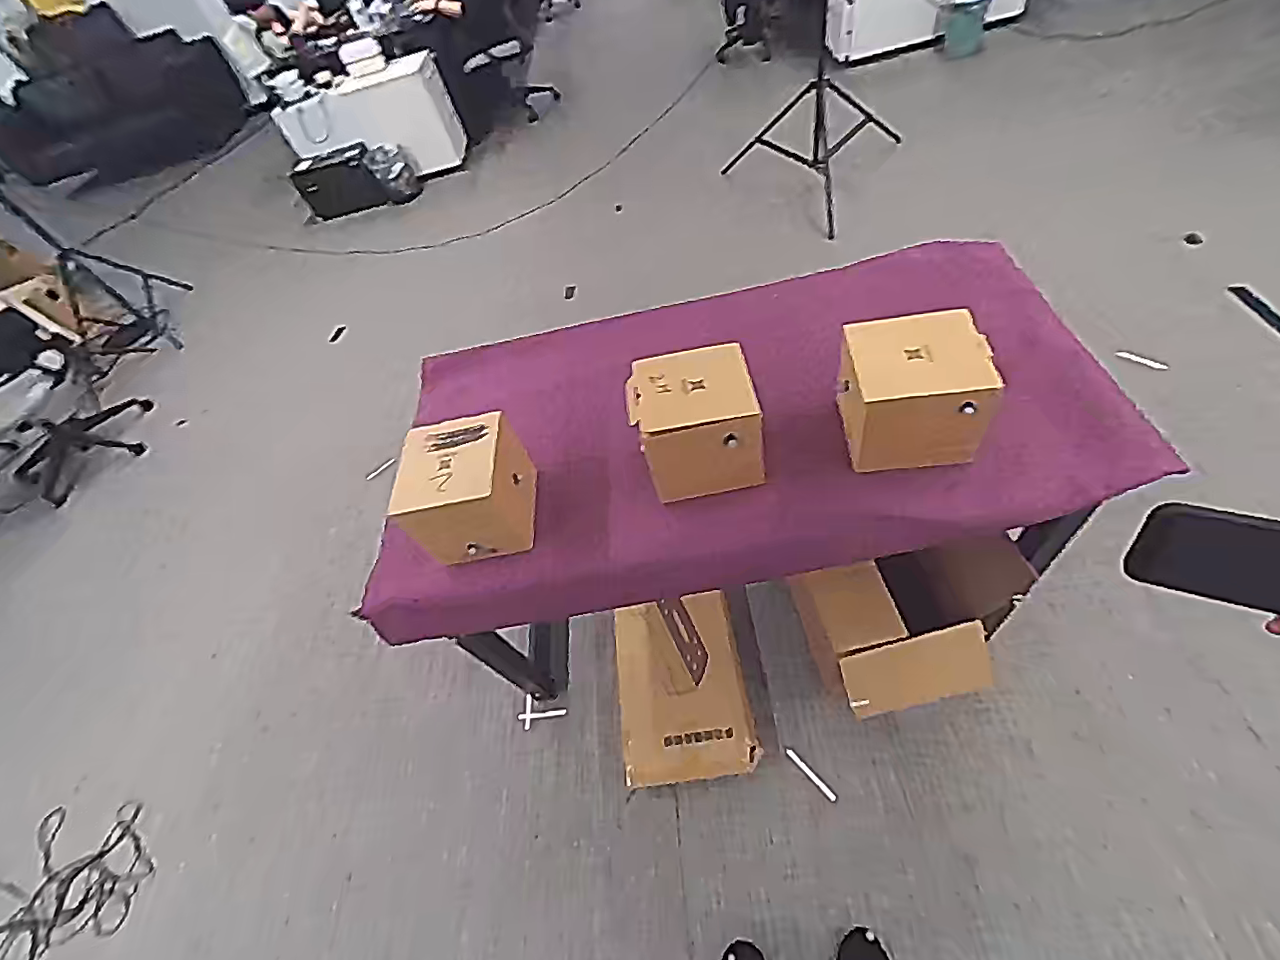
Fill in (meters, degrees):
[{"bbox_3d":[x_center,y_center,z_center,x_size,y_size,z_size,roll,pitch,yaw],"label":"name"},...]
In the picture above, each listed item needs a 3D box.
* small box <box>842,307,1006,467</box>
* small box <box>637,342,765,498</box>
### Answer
[{"bbox_3d":[0.412,-0.134,0.824,0.179,0.176,0.168,-5,53,11],"label":"small box"},{"bbox_3d":[0.100,-0.092,0.875,0.179,0.176,0.168,-11,50,7],"label":"small box"}]
